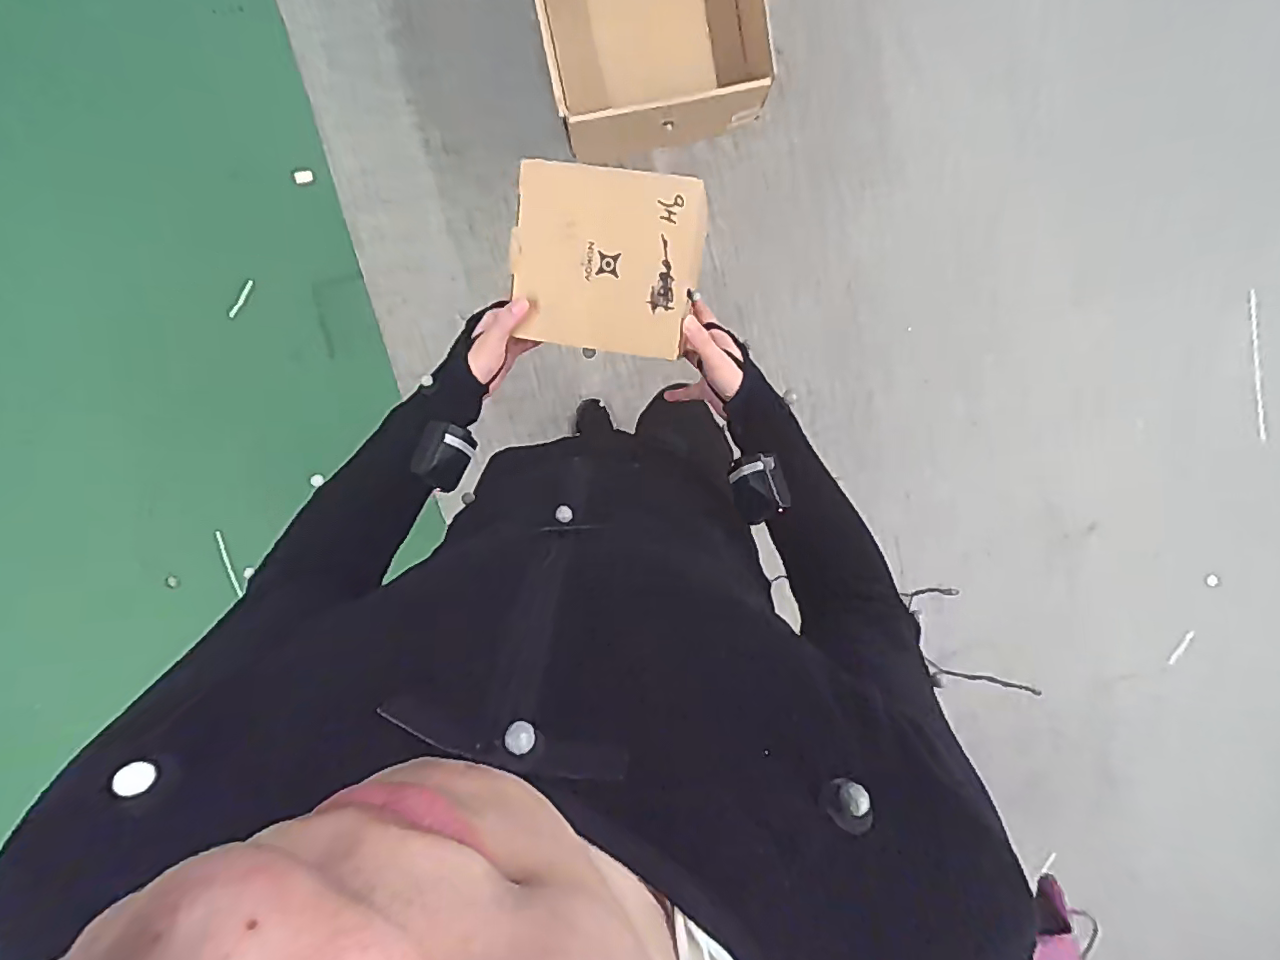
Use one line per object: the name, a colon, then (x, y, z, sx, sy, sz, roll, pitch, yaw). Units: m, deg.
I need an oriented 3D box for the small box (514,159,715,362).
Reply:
small box: (-0.019, -0.227, 0.594, 0.179, 0.176, 0.168, 11, 106, 6)
